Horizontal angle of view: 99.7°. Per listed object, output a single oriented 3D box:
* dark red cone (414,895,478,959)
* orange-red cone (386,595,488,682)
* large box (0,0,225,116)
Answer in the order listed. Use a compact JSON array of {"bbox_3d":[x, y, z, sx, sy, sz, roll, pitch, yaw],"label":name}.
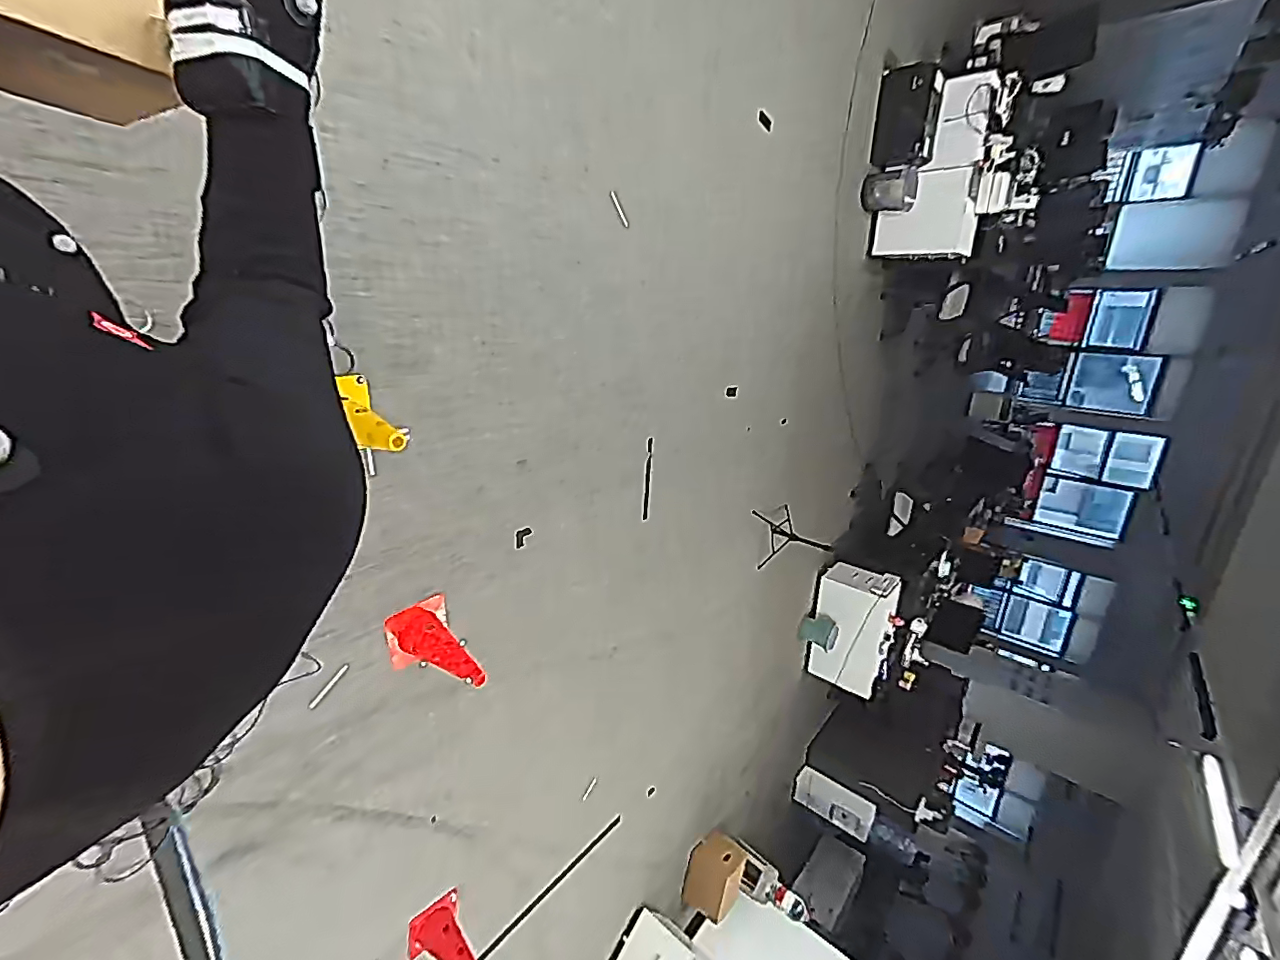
[{"bbox_3d":[-0.659,1.776,1.994,0.201,0.394,0.202,-10,111,-48],"label":"dark red cone"},{"bbox_3d":[-0.587,0.524,1.652,0.198,0.360,0.199,-23,119,-47],"label":"orange-red cone"},{"bbox_3d":[-0.520,-0.451,0.283,0.408,0.320,0.320,-11,116,-52],"label":"large box"}]
